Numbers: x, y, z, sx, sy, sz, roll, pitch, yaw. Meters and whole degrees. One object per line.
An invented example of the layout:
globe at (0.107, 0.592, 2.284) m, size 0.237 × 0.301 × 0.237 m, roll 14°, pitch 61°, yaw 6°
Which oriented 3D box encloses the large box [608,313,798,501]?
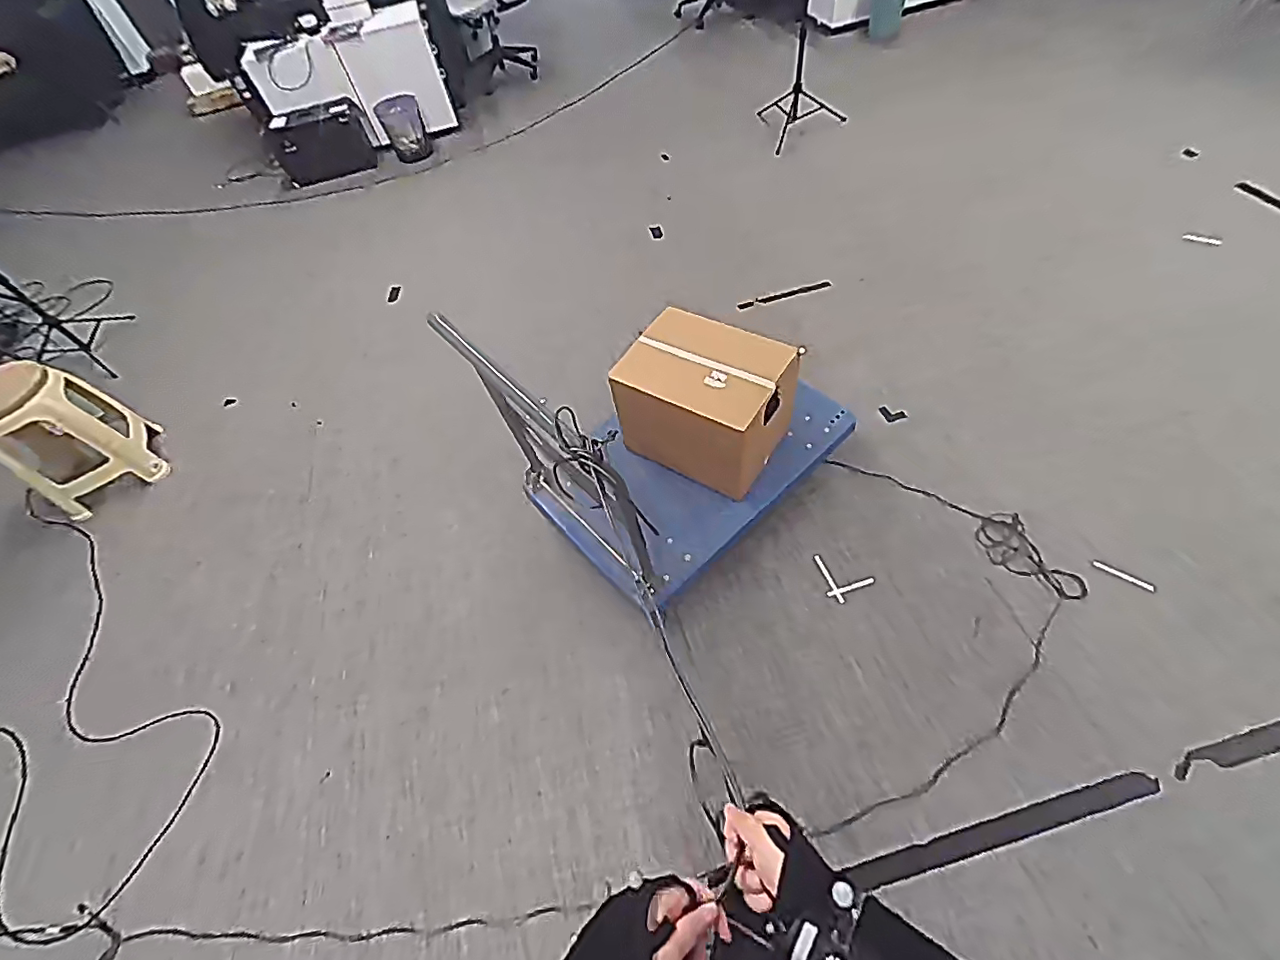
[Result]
large box at (0.175, -0.205, 1.515) m, size 0.408 × 0.320 × 0.320 m, roll 26°, pitch 63°, yaw 23°
